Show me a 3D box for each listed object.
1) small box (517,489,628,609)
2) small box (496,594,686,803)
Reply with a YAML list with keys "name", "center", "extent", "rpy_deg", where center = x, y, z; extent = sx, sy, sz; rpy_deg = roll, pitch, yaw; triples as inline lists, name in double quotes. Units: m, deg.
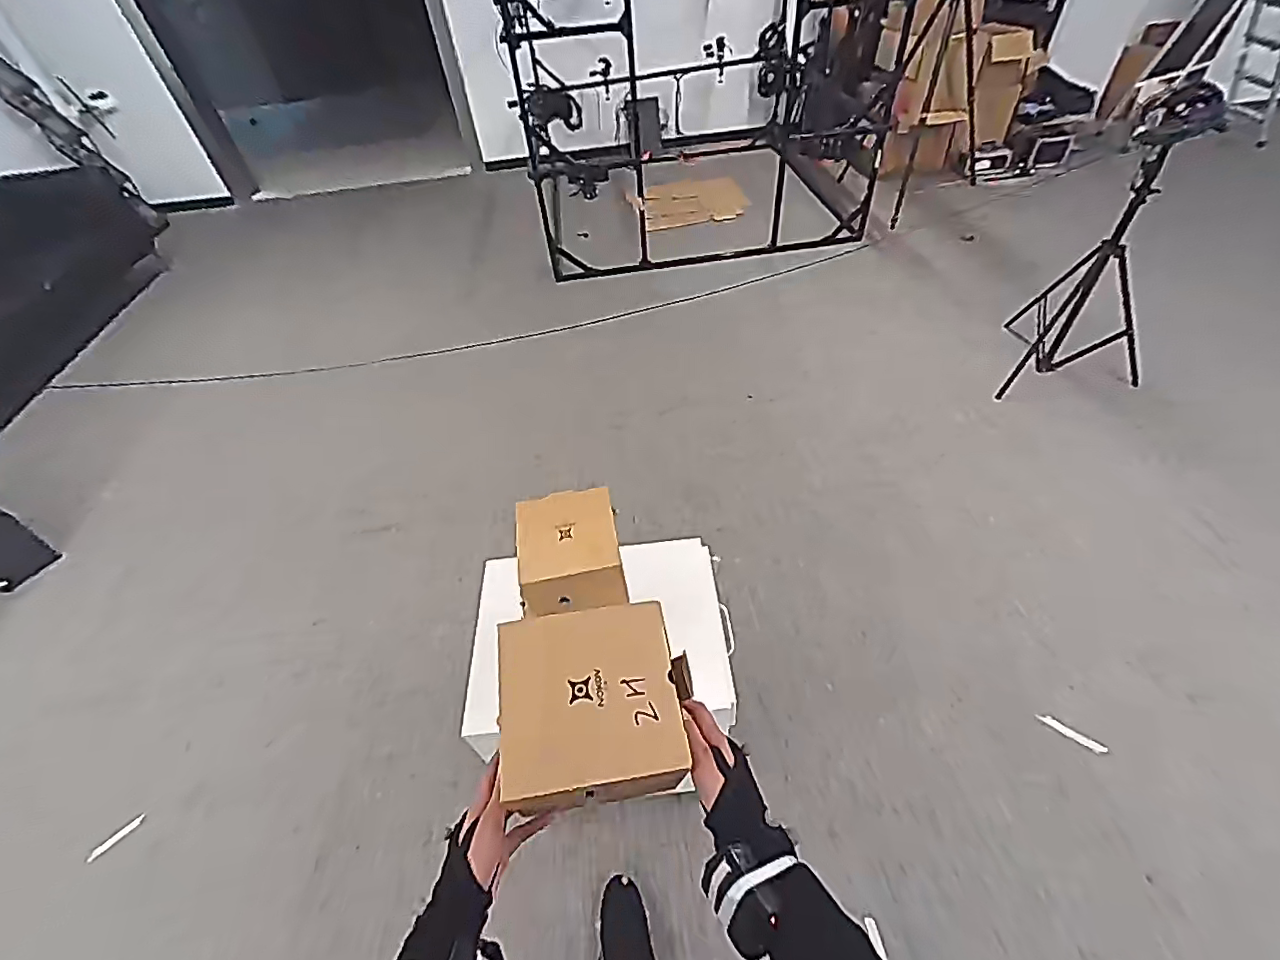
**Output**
- name: "small box"
  center: [-0.116, 0.146, 0.956]
  extent: [0.168, 0.176, 0.179]
  rpy_deg: [-10, 46, -4]
- name: "small box"
  center: [-0.056, 0.245, 0.597]
  extent: [0.179, 0.176, 0.168]
  rpy_deg: [-6, 55, -7]
